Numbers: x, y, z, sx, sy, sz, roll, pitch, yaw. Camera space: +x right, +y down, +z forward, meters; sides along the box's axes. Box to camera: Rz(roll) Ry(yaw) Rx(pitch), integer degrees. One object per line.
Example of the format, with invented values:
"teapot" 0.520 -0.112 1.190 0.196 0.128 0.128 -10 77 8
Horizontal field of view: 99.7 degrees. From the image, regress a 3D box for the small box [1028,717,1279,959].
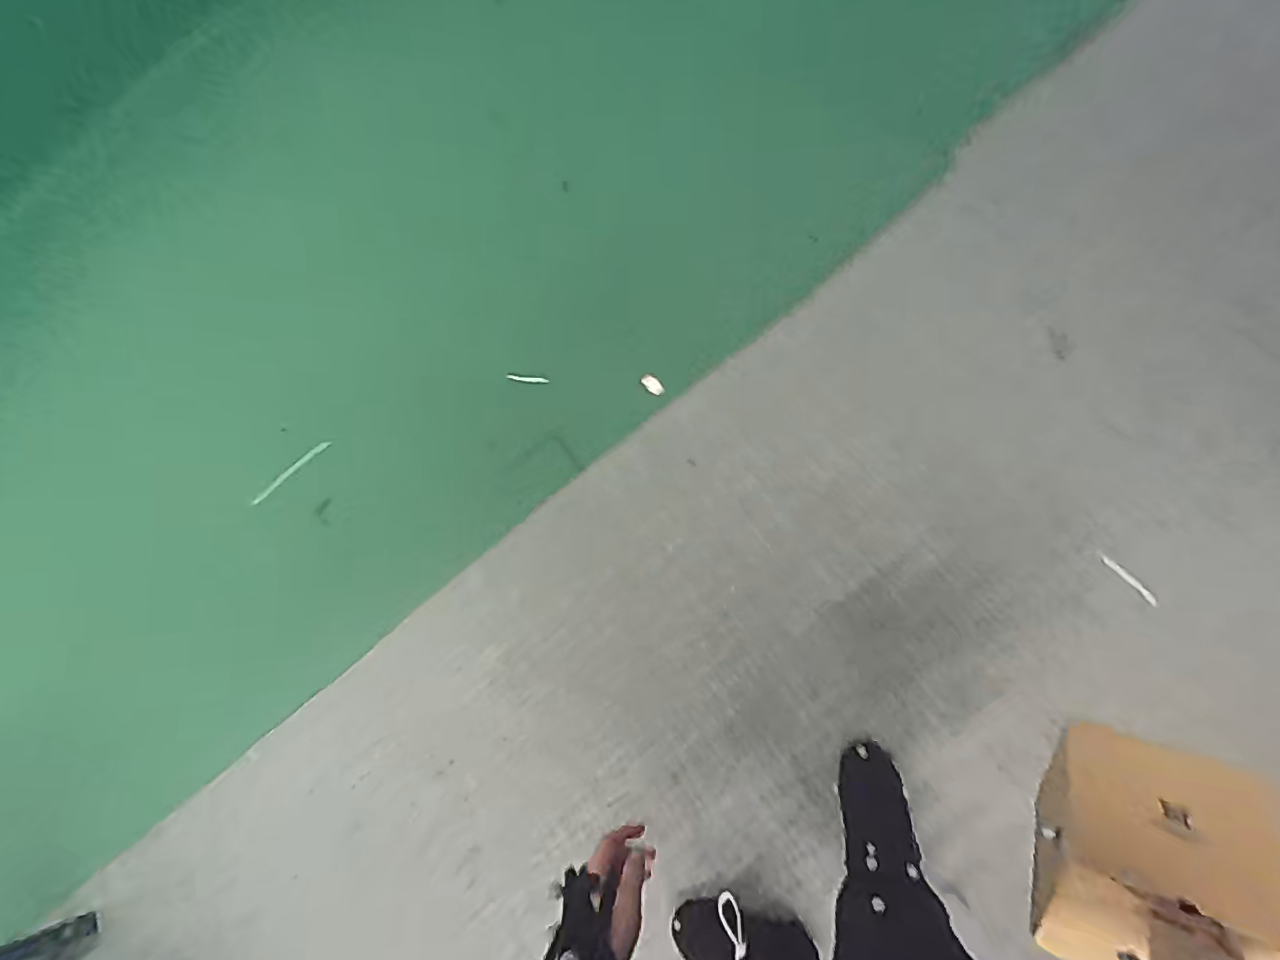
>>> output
"small box" 0.505 0.387 0.540 0.168 0.176 0.179 11 36 31
